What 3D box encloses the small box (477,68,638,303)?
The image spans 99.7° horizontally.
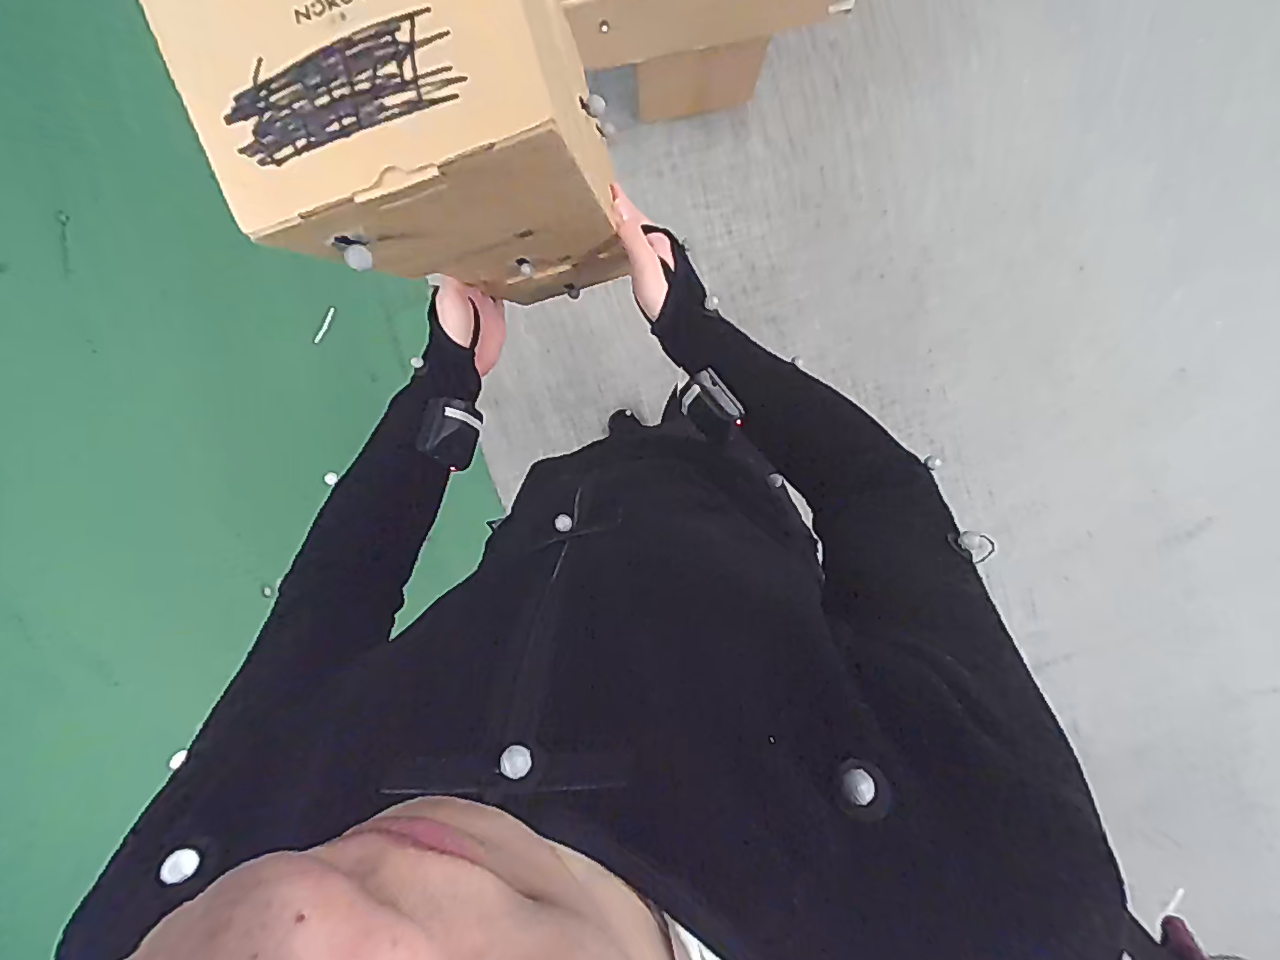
[{"bbox_3d":[-0.104,-0.318,0.623,0.168,0.176,0.179,-14,102,8],"label":"small box"}]

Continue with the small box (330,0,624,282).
[{"bbox_3d":[-0.116,-0.287,0.465,0.168,0.176,0.179,-13,103,6],"label":"small box"}]
